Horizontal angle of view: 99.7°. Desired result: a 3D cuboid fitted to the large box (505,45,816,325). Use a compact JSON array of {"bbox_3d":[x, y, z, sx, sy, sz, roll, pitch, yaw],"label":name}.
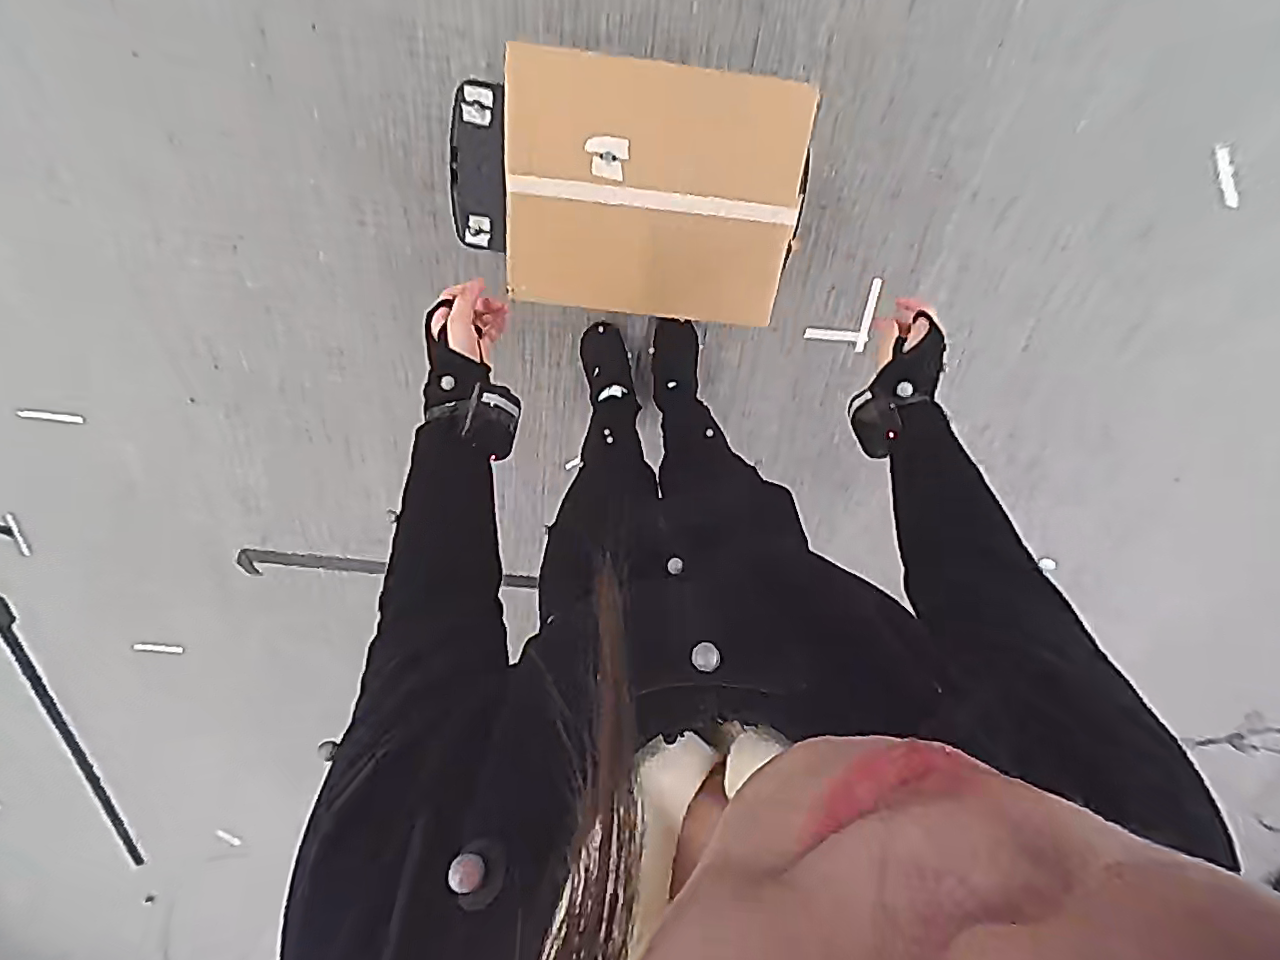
[{"bbox_3d":[0.016,-0.458,0.878,0.408,0.320,0.320,6,117,-3],"label":"large box"}]
